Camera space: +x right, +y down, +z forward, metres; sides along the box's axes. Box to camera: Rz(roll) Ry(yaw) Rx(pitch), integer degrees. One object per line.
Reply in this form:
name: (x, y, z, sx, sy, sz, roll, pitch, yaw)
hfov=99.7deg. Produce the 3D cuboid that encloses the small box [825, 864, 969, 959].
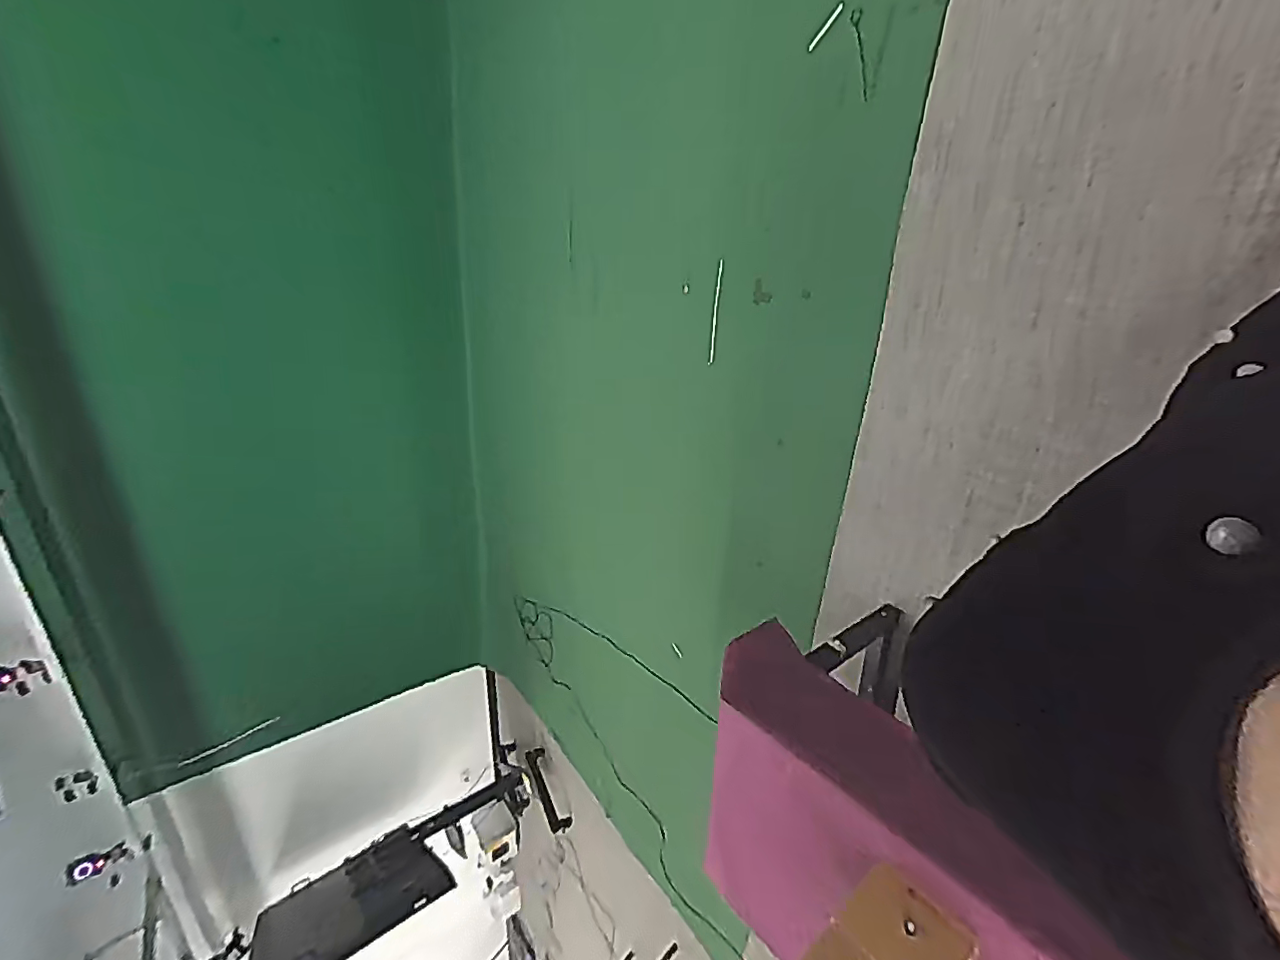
small box: (0.416, 0.801, 0.901, 0.168, 0.176, 0.179, 27, 122, 47)

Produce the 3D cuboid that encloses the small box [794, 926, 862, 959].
small box: (0.286, 0.835, 0.808, 0.168, 0.176, 0.179, 30, 124, 46)
